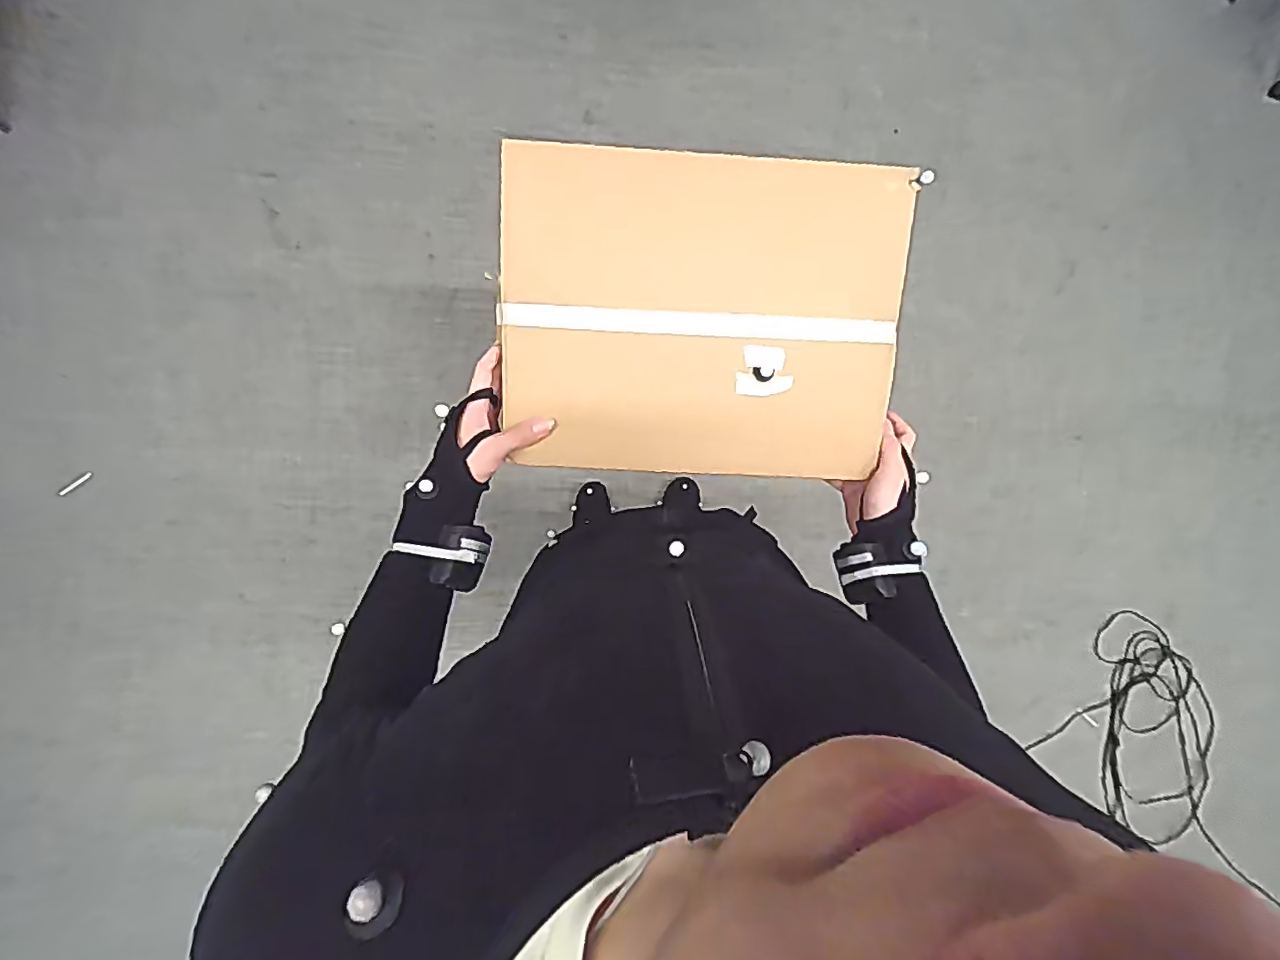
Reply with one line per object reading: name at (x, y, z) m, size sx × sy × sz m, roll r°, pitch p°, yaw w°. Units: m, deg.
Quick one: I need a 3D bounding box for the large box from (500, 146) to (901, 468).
large box at (0.051, -0.196, 0.702) m, size 0.408 × 0.320 × 0.320 m, roll 2°, pitch 103°, yaw -3°
